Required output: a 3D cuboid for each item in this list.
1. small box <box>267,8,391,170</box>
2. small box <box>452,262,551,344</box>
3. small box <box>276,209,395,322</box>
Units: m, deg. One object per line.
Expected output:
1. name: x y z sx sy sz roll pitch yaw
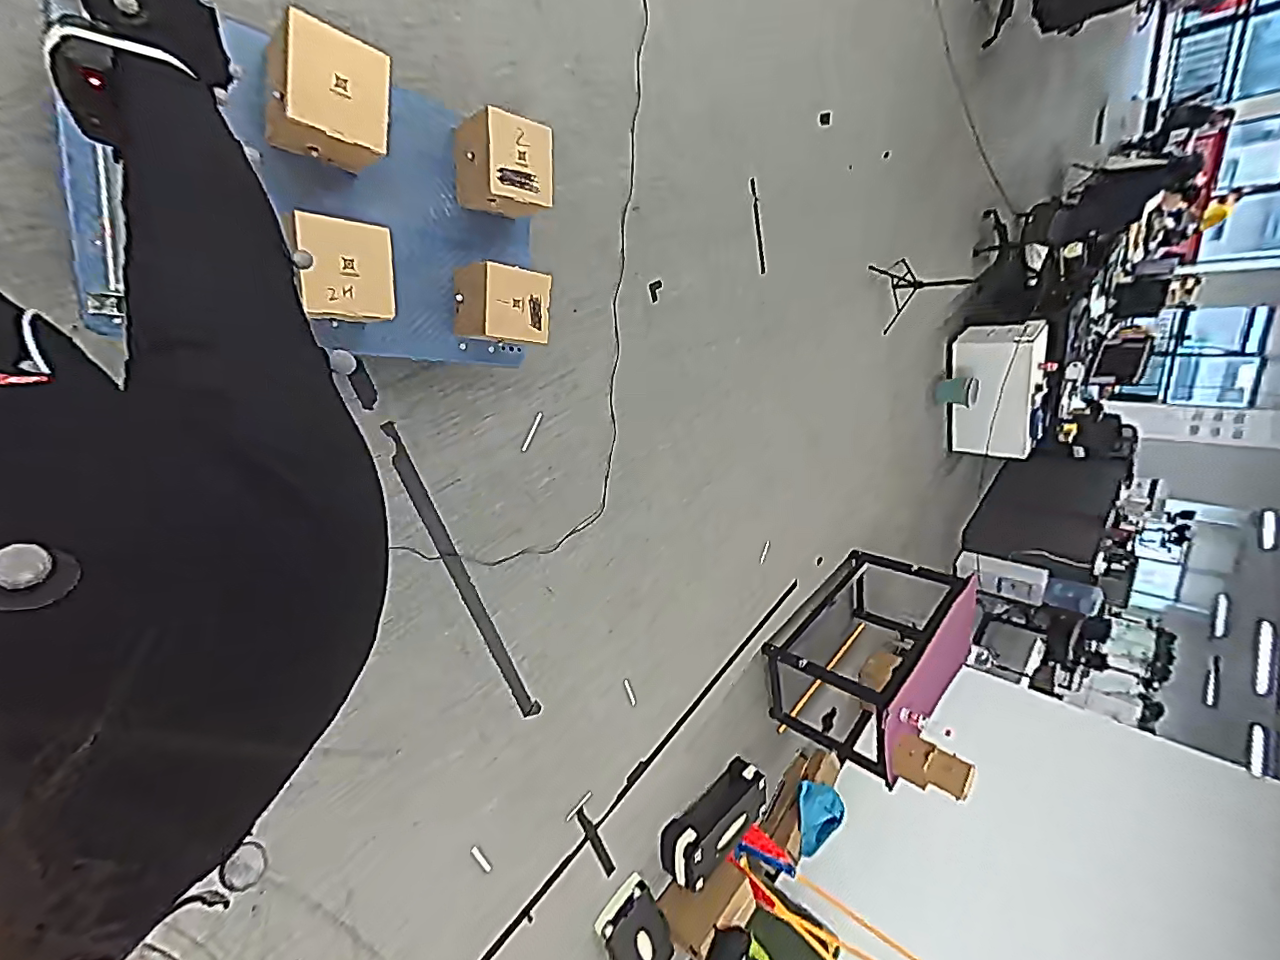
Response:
1. small box: -0.591 -0.721 1.023 0.168 0.176 0.179 -3 104 -45
2. small box: -0.344 -0.434 1.344 0.179 0.176 0.168 -5 104 -43
3. small box: -0.610 -0.417 1.081 0.168 0.176 0.179 -9 106 -43
